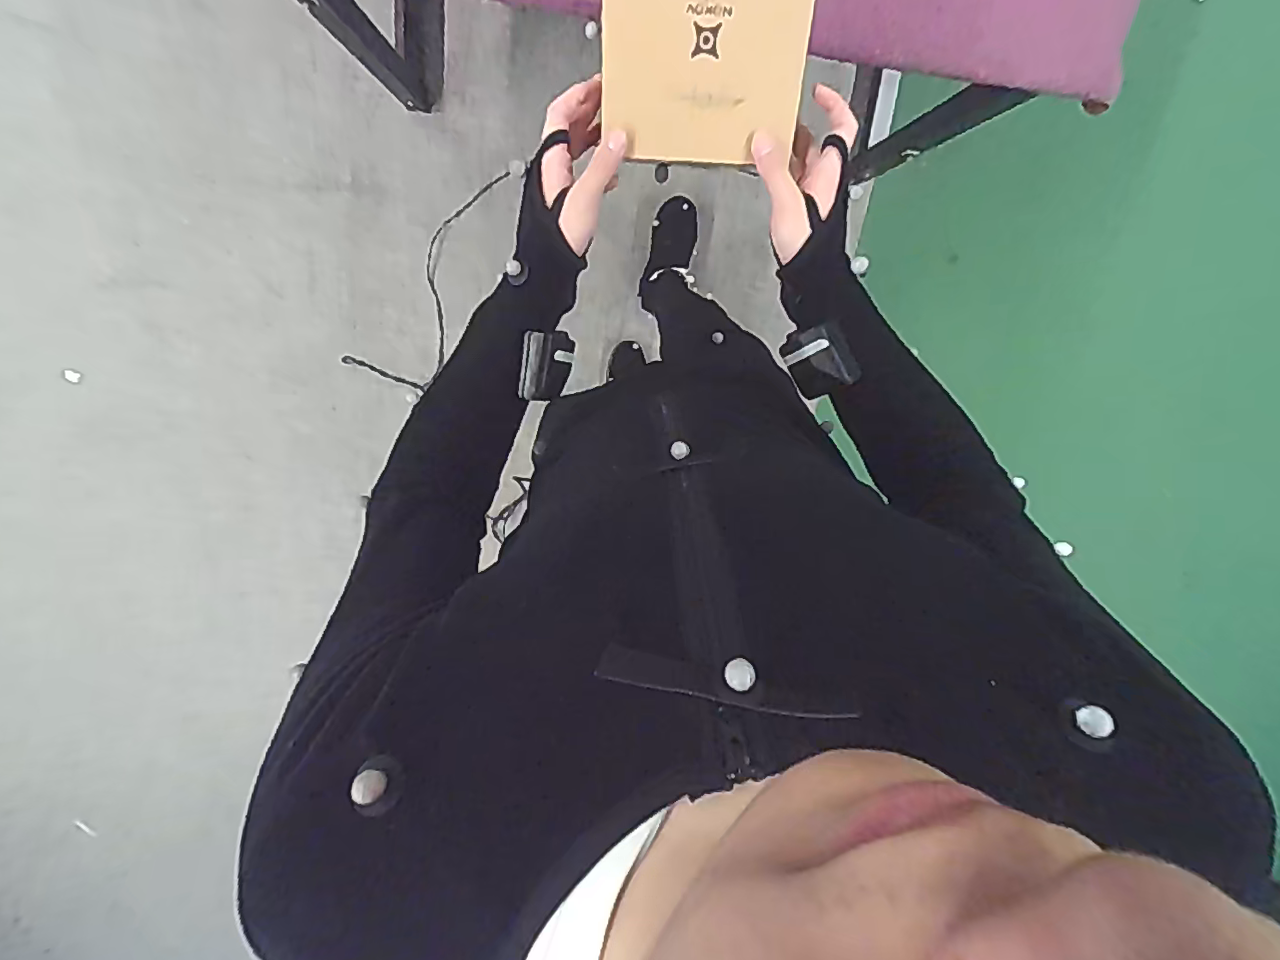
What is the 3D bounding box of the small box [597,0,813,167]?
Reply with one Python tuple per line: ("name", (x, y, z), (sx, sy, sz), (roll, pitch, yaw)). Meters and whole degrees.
("small box", (0.046, -0.391, 0.489), (0.168, 0.176, 0.179), (1, 119, -4))
